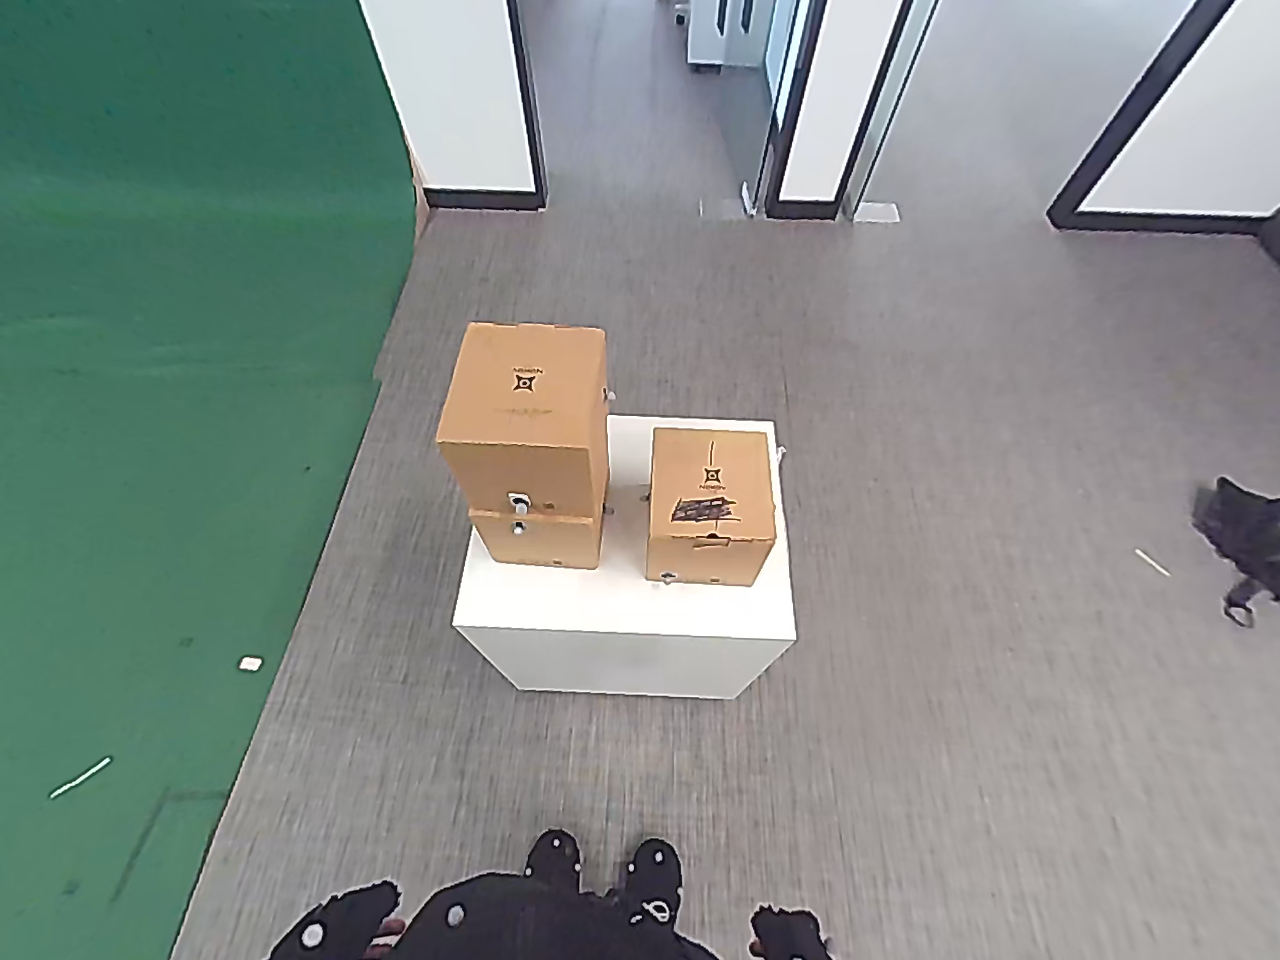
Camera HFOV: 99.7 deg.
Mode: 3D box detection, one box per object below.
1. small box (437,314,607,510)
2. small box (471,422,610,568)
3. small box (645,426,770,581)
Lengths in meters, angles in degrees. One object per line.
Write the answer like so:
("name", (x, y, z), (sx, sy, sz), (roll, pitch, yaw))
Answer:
("small box", (-0.130, -0.080, 0.674), (0.168, 0.176, 0.179), (2, 61, 1))
("small box", (-0.137, 0.016, 0.824), (0.168, 0.176, 0.179), (4, 58, 3))
("small box", (0.094, 0.041, 0.812), (0.168, 0.176, 0.179), (3, 58, 1))
